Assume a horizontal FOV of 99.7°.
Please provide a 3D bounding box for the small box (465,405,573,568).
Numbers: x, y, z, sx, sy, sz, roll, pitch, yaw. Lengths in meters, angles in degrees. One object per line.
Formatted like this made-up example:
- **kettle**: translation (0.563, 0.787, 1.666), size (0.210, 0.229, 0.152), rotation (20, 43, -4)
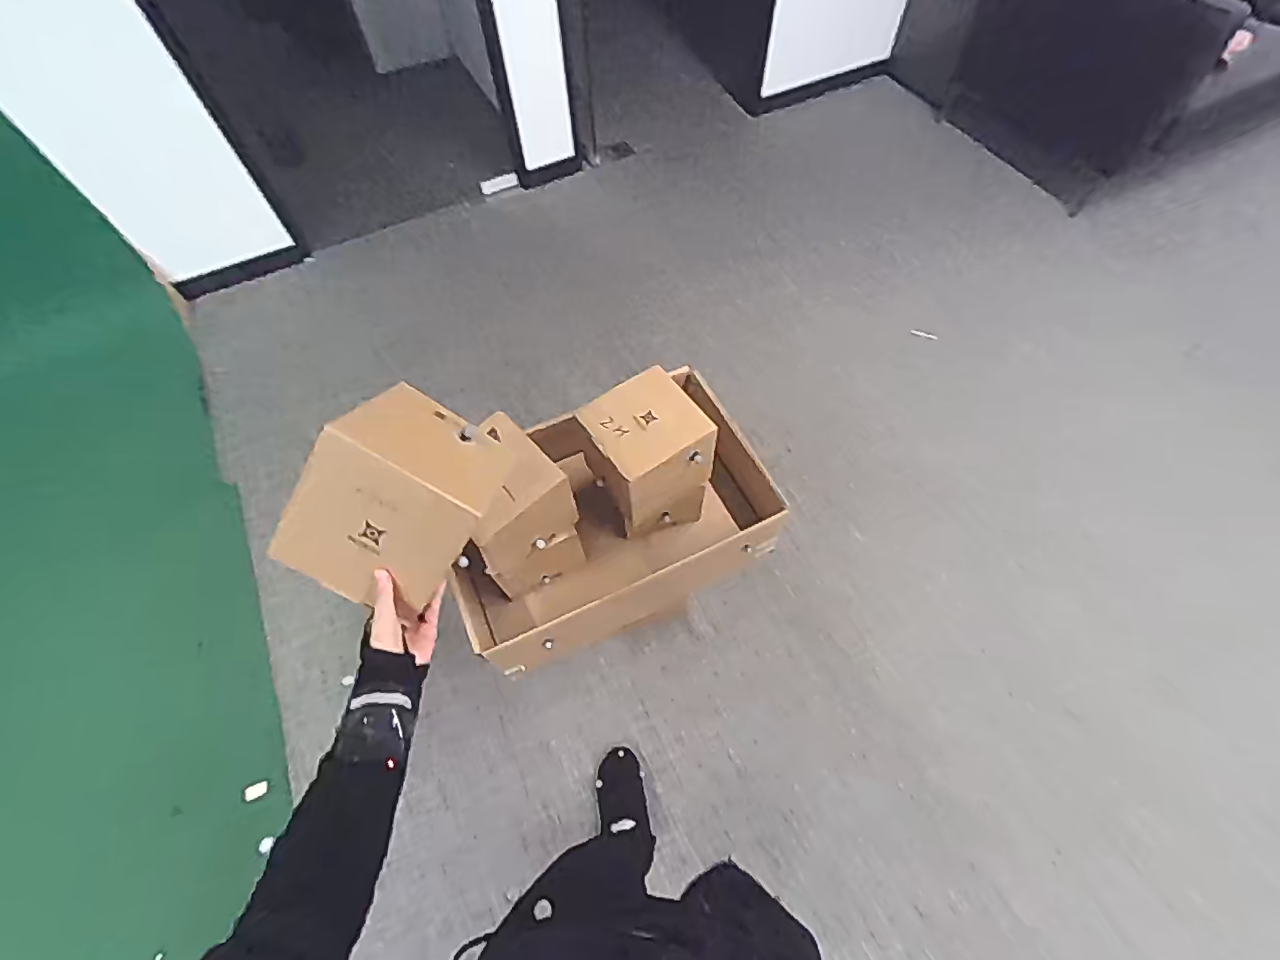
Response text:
- **small box**: translation (-0.231, 0.017, 0.894), size (0.168, 0.176, 0.179), rotation (-40, 69, -18)

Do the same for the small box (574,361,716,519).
- **small box**: translation (0.007, -0.065, 0.935), size (0.179, 0.176, 0.168), rotation (-31, 64, -14)

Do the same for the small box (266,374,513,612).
- **small box**: translation (-0.267, 0.007, 0.614), size (0.168, 0.179, 0.176), rotation (34, 20, -13)
